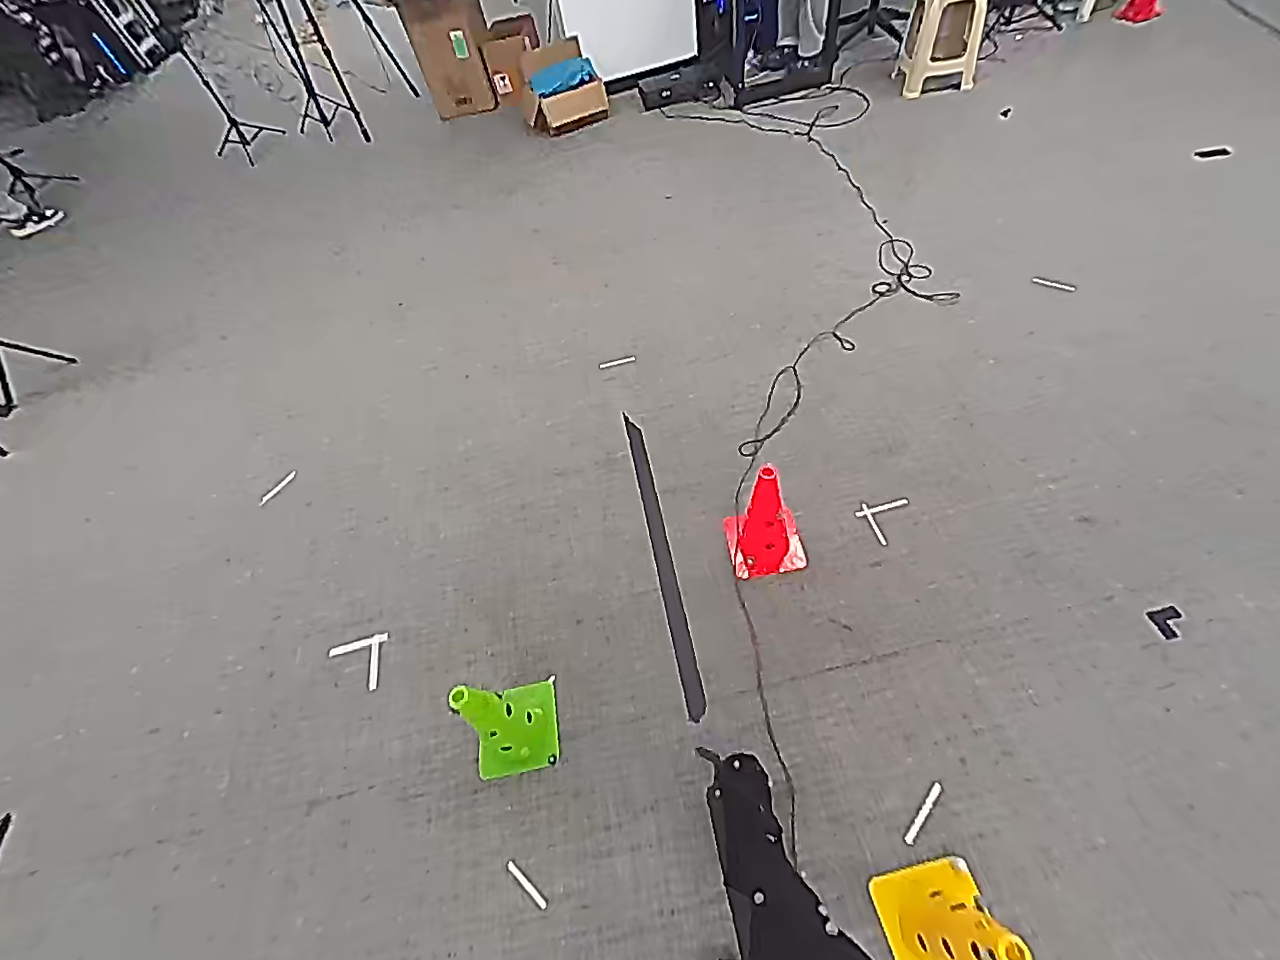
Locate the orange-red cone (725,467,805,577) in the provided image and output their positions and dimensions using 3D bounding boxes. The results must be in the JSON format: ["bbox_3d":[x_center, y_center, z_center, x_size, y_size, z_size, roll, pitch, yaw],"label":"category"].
[{"bbox_3d":[0.326,0.081,1.395,0.199,0.360,0.198,-9,55,3],"label":"orange-red cone"}]

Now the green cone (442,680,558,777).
[{"bbox_3d":[-0.337,0.517,1.210,0.202,0.368,0.200,-14,54,2],"label":"green cone"}]
